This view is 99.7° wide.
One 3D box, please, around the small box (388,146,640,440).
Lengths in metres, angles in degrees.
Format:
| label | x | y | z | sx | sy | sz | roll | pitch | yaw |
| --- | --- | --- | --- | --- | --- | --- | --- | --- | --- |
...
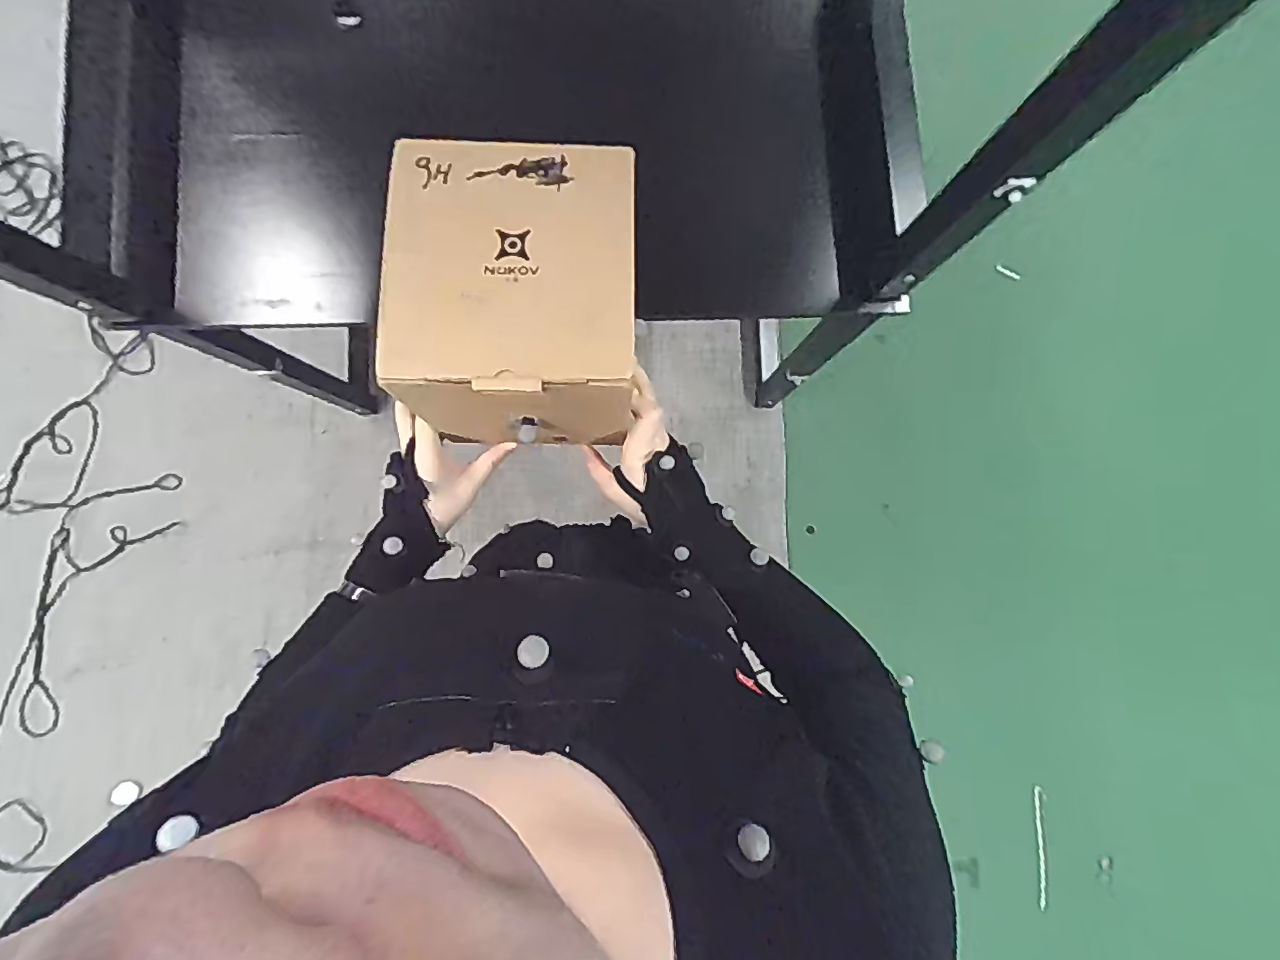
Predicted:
| label | x | y | z | sx | sy | sz | roll | pitch | yaw |
| --- | --- | --- | --- | --- | --- | --- | --- | --- | --- |
| small box | -0.085 | -0.132 | 0.441 | 0.168 | 0.176 | 0.179 | 0 | 81 | -3 |
